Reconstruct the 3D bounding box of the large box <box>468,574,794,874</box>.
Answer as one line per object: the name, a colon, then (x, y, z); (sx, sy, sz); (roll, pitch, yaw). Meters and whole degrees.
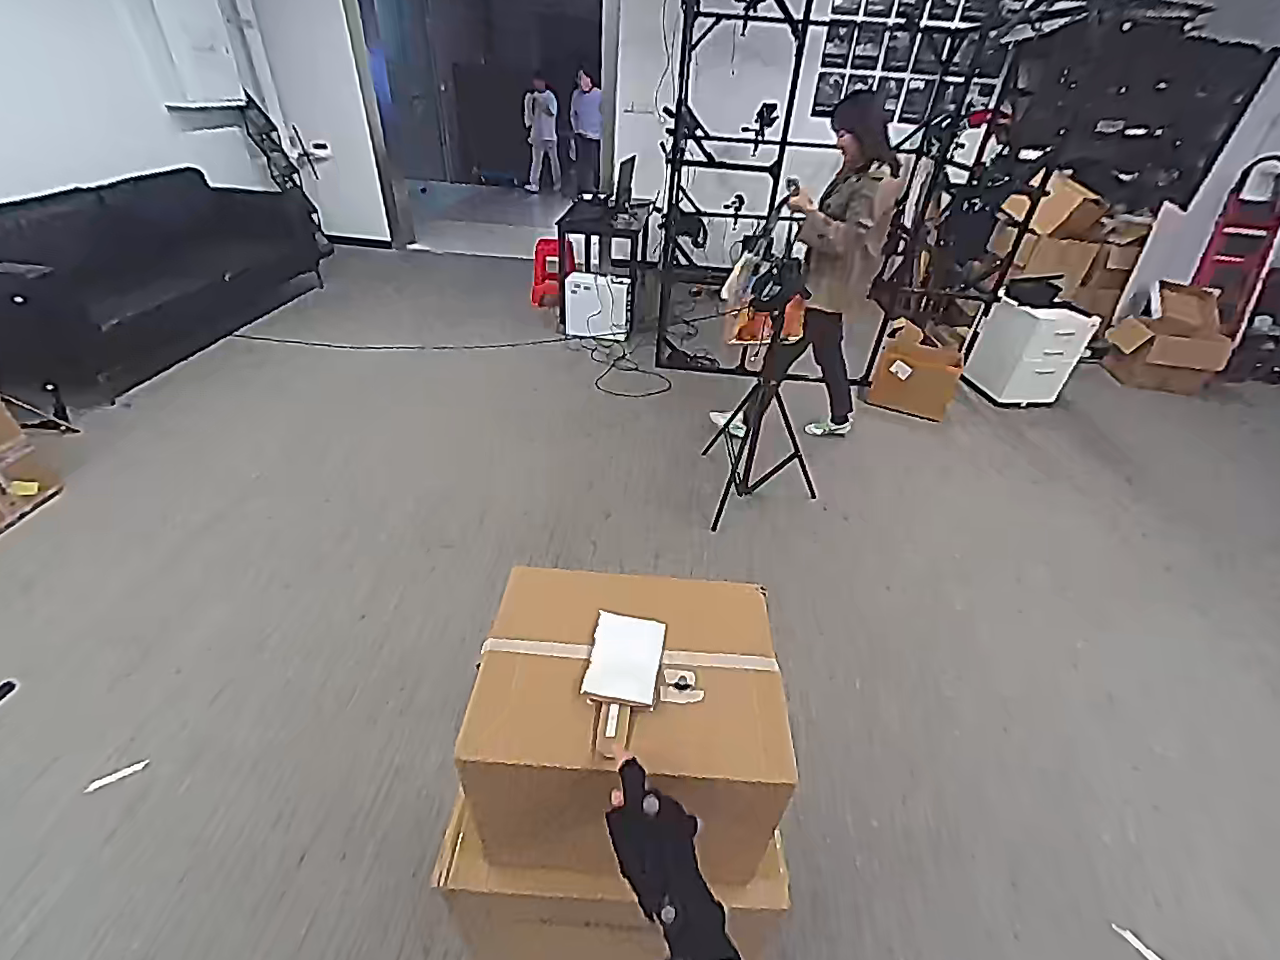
large box: (-0.018, 0.376, 0.852); (0.408, 0.320, 0.320); (5, 36, -1)
